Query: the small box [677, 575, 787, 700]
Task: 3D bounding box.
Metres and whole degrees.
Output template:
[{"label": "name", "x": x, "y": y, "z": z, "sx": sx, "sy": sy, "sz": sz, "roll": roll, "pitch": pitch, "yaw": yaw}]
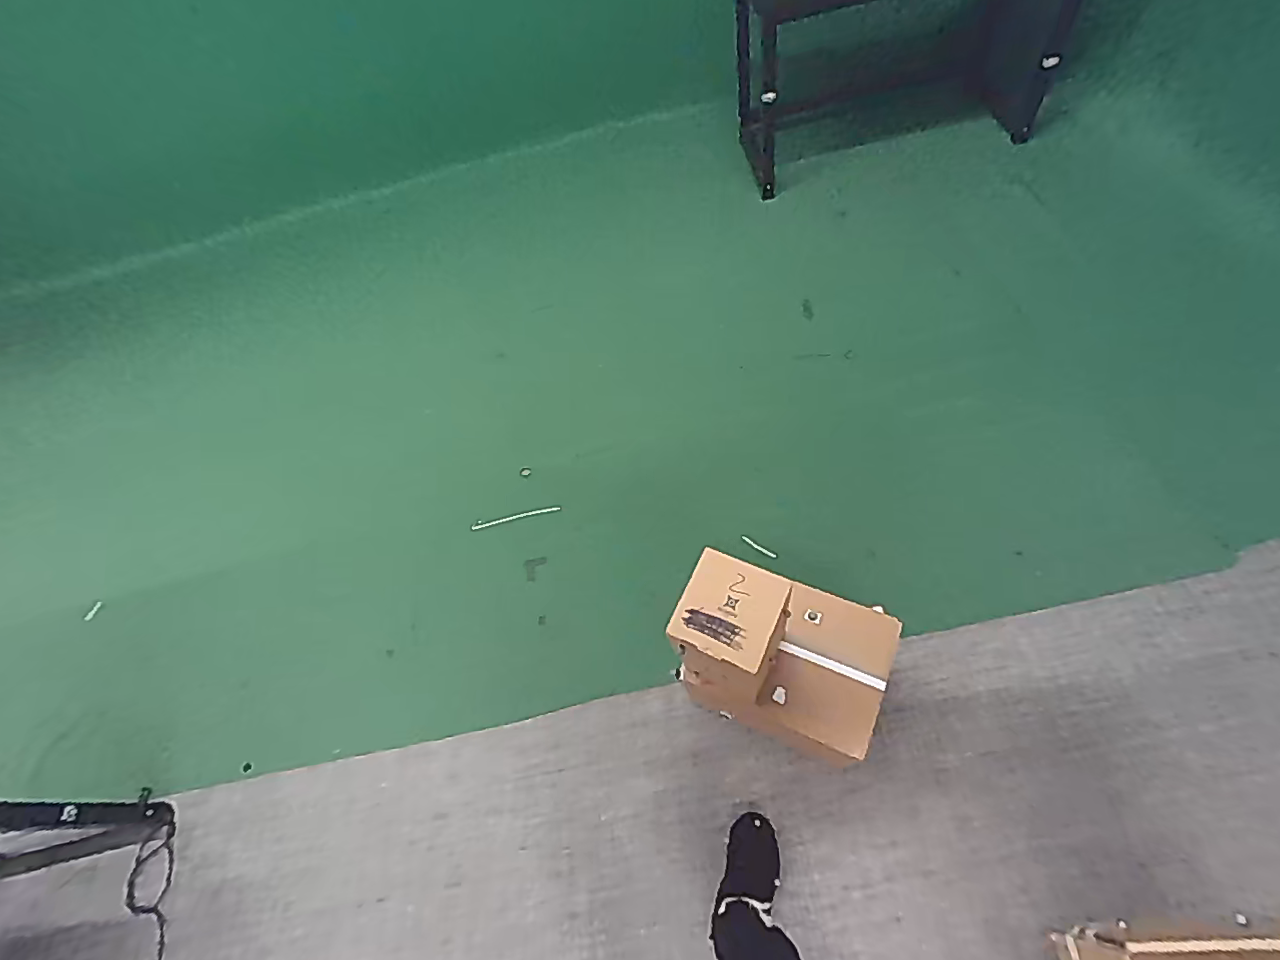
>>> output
[{"label": "small box", "x": 0.196, "y": 0.335, "z": 1.132, "sx": 0.168, "sy": 0.176, "sz": 0.179, "roll": 22, "pitch": 65, "yaw": 22}]
